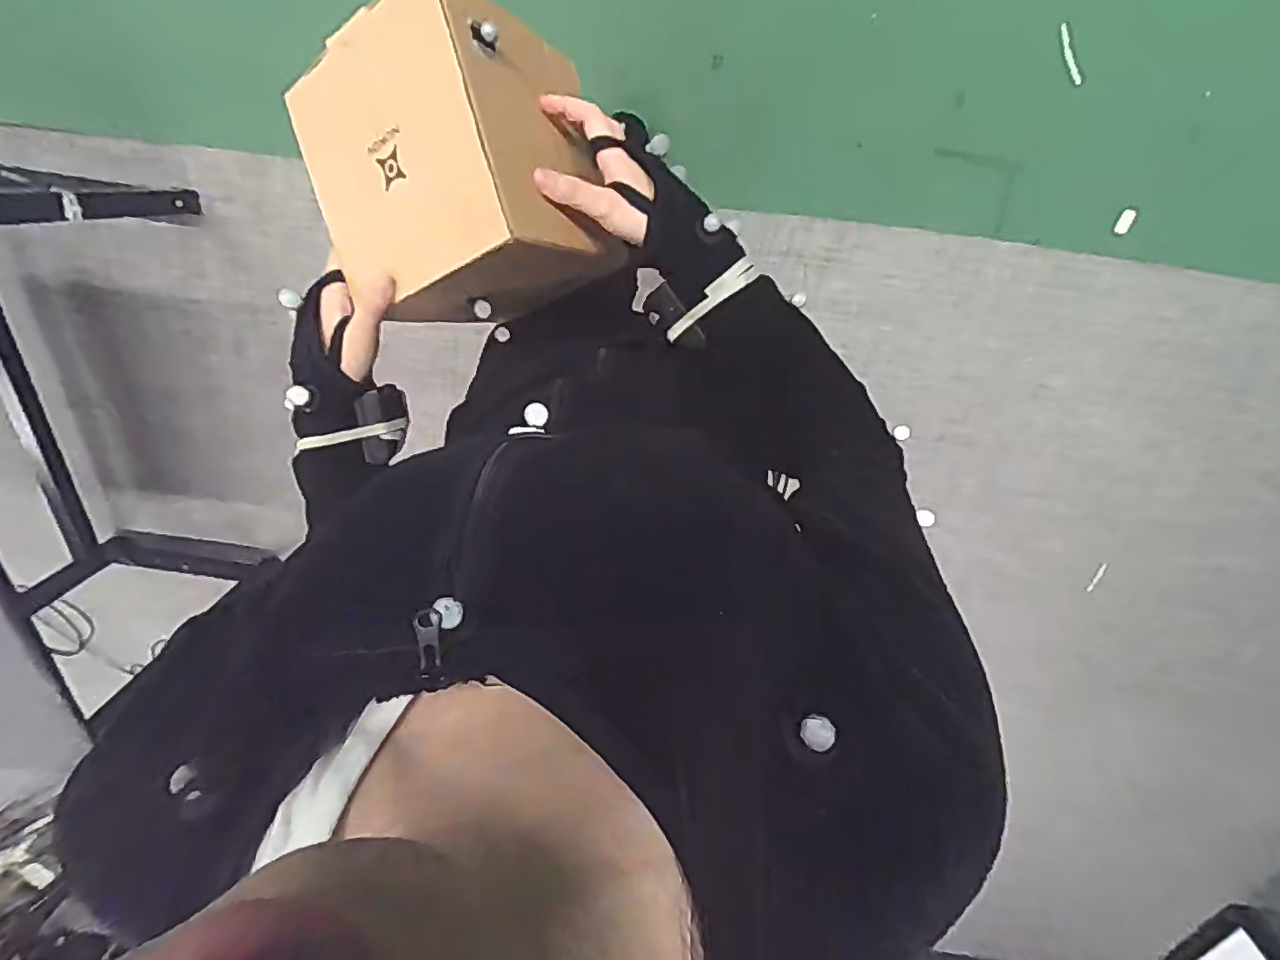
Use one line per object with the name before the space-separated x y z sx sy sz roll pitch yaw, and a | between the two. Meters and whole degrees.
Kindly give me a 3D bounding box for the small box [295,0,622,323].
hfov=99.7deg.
small box | -0.135 -0.241 0.451 0.168 0.176 0.179 -12 96 29
